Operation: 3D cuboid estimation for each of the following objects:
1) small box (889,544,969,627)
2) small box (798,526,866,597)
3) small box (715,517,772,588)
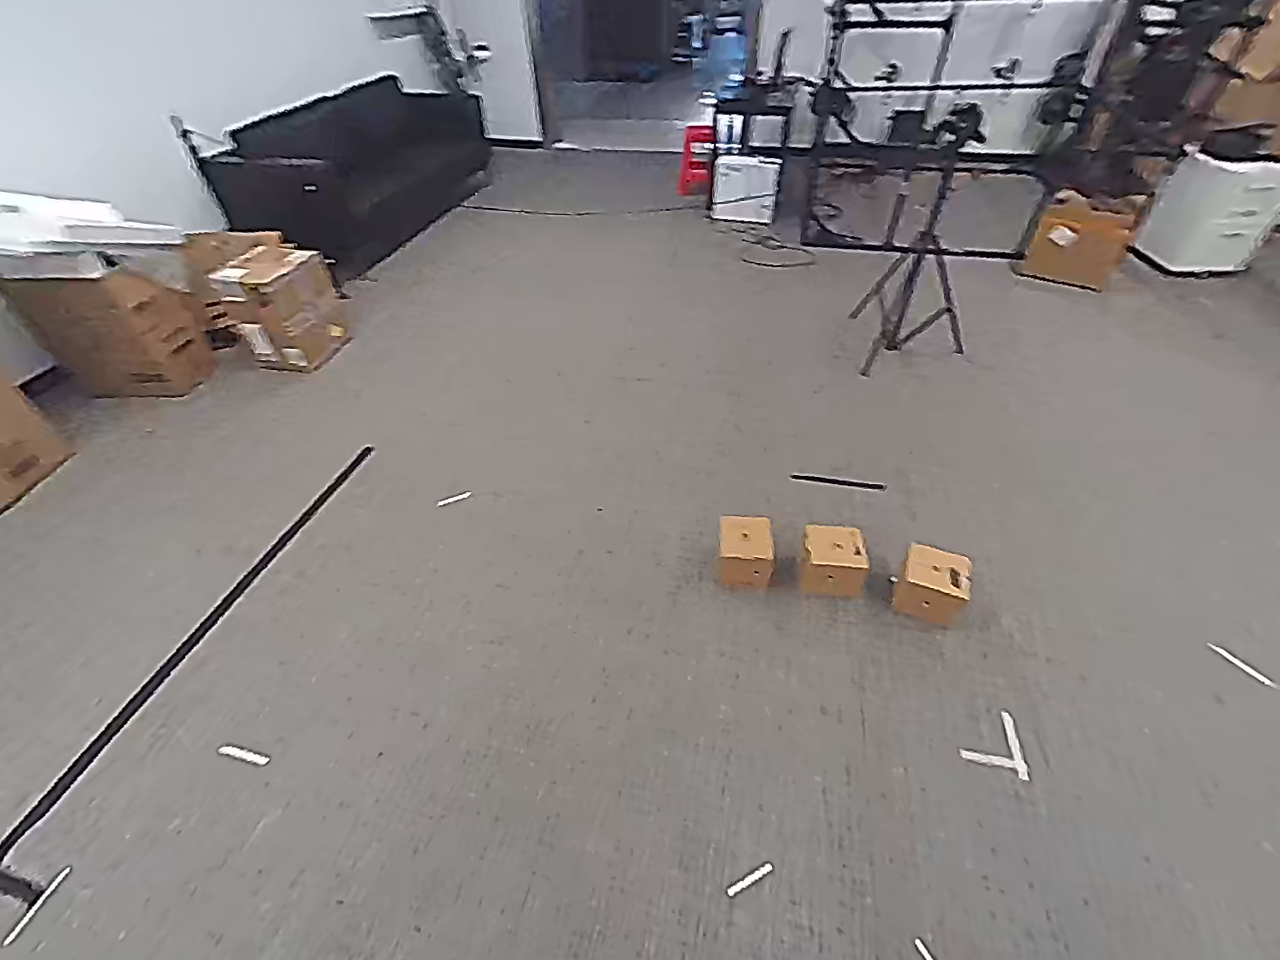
[{"bbox_3d":[0.910,0.336,1.704,0.179,0.176,0.168,16,47,19],"label":"small box"},{"bbox_3d":[0.624,0.272,1.782,0.179,0.176,0.168,3,45,6],"label":"small box"},{"bbox_3d":[0.343,0.247,1.820,0.168,0.176,0.179,2,43,3],"label":"small box"}]
